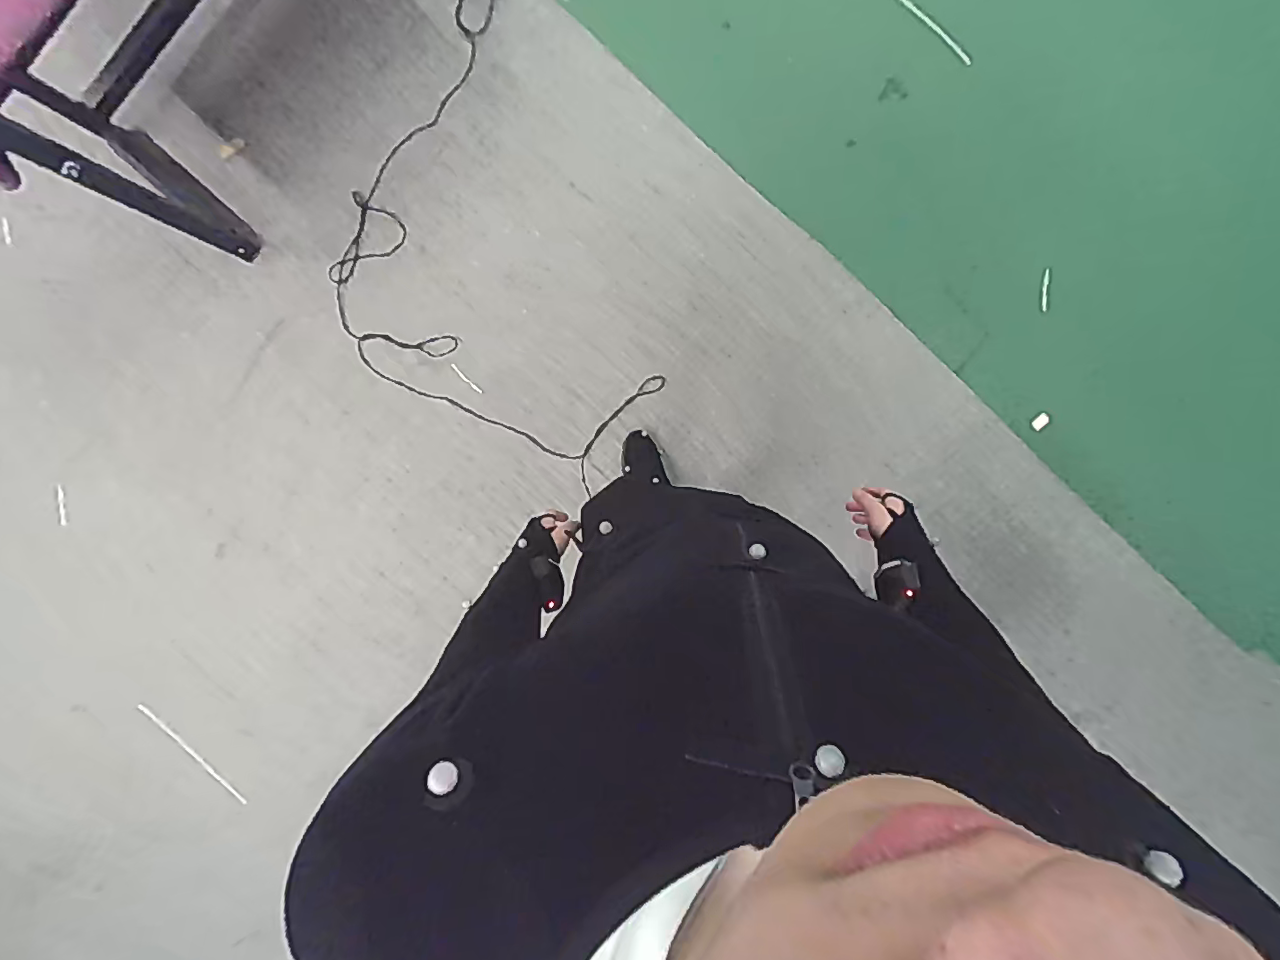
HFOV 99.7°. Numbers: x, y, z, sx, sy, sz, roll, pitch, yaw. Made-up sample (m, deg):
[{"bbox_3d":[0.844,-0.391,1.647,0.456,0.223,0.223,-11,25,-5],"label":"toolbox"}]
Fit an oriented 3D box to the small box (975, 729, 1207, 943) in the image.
[{"bbox_3d":[0.667,0.527,0.825,0.168,0.176,0.179,-37,91,3],"label":"small box"}]
